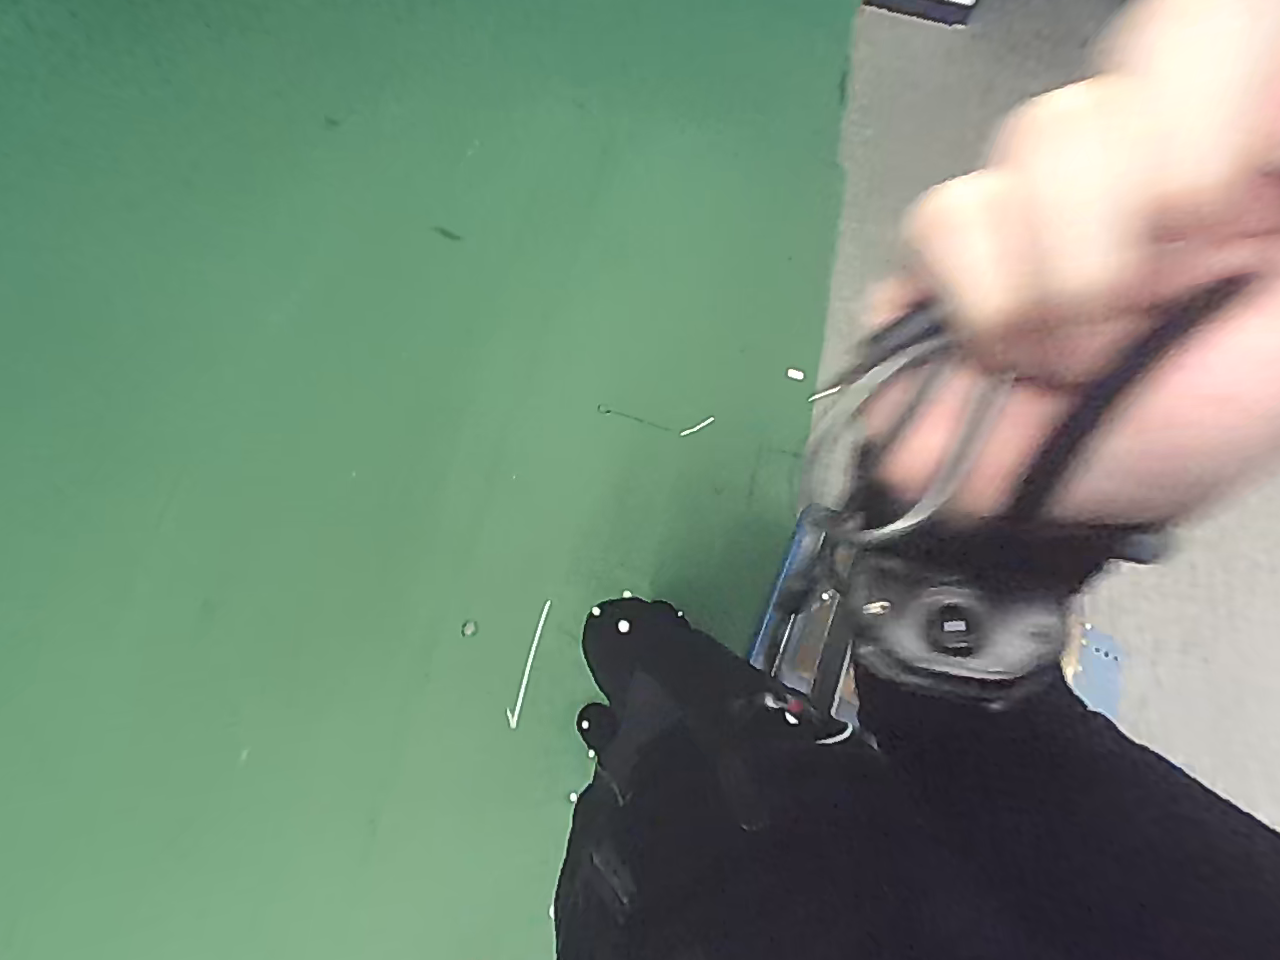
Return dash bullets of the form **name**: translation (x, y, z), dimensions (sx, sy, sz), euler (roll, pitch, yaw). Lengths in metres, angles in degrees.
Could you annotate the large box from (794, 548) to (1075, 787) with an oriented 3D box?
- **large box**: translation (0.614, 0.397, 1.181), dimensions (0.408, 0.320, 0.320), euler (27, 71, 3)
